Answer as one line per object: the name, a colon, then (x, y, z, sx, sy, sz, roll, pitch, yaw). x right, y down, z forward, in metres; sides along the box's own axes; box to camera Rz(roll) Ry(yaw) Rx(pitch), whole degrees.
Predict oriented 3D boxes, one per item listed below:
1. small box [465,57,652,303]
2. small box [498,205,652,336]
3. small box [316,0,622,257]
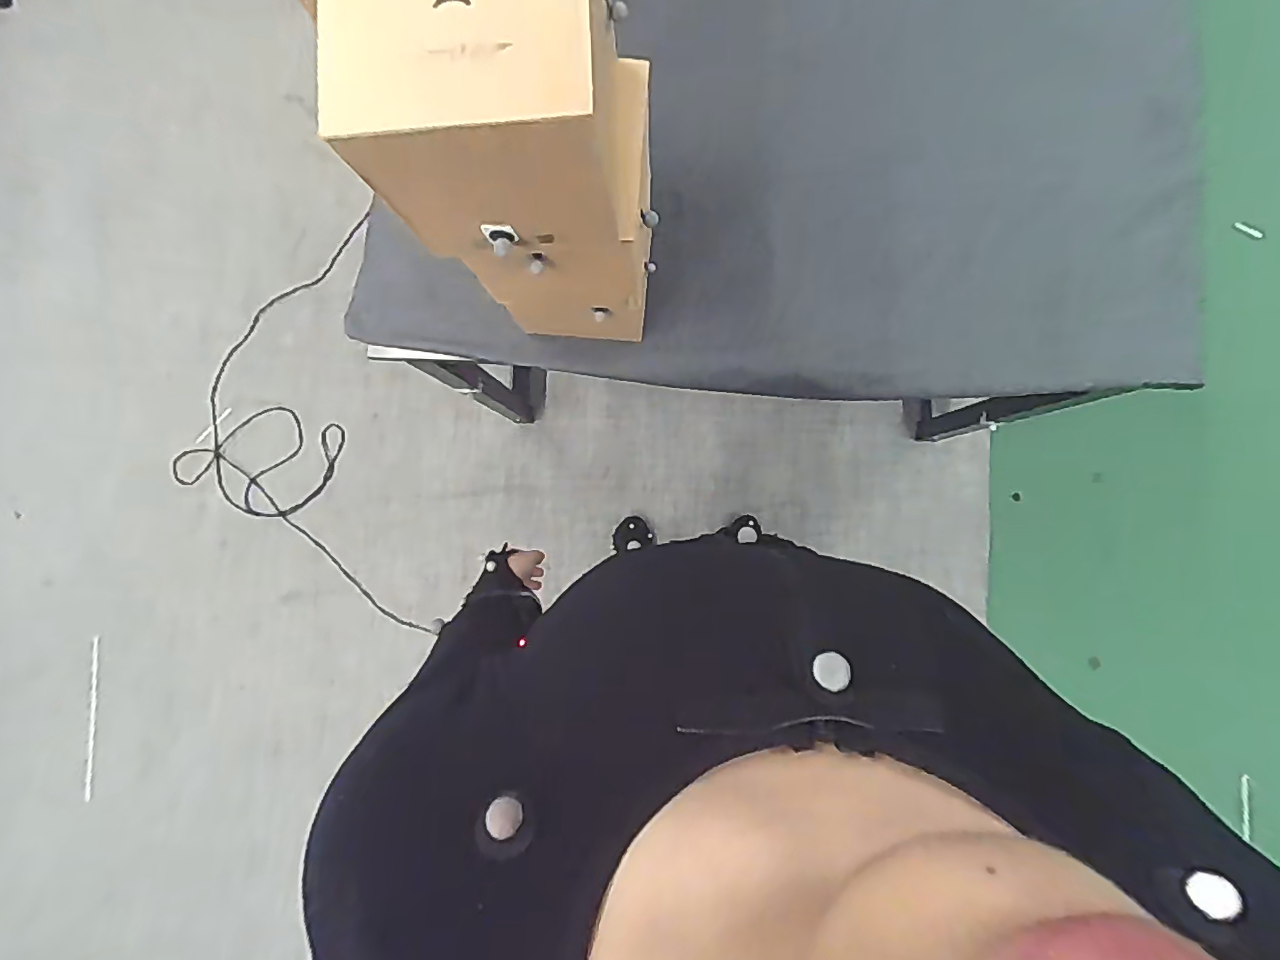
small box: (-0.080, -0.293, 0.557, 0.179, 0.176, 0.168, 4, 88, 4)
small box: (-0.077, -0.299, 0.720, 0.179, 0.176, 0.168, 5, 87, 4)
small box: (-0.105, -0.288, 0.396, 0.168, 0.176, 0.179, -2, 89, 5)
